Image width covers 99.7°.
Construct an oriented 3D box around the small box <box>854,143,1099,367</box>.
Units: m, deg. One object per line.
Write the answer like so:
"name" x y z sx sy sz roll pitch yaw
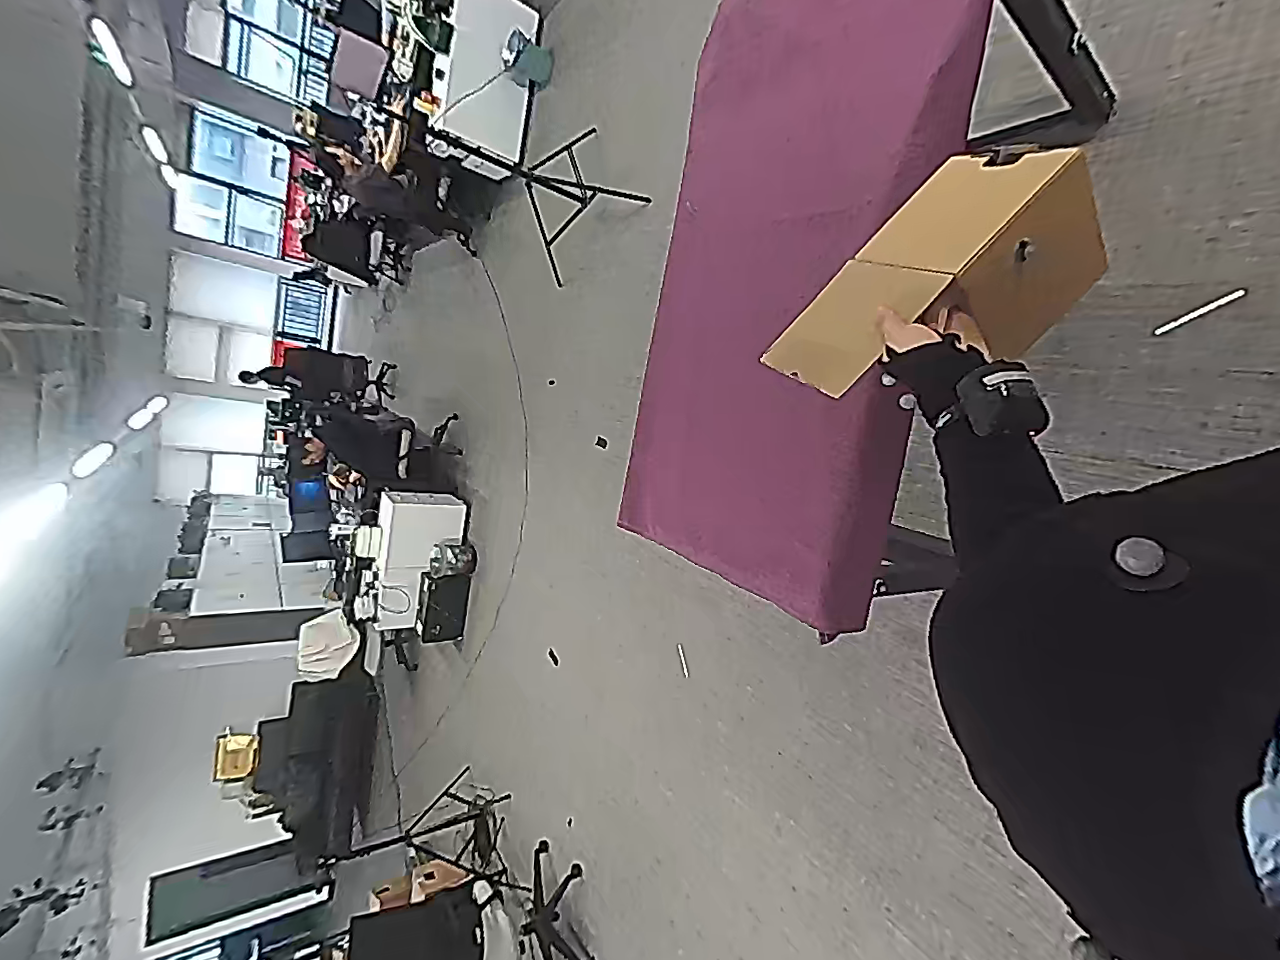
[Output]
"small box" 0.410 -0.267 0.662 0.179 0.176 0.168 -46 33 6
